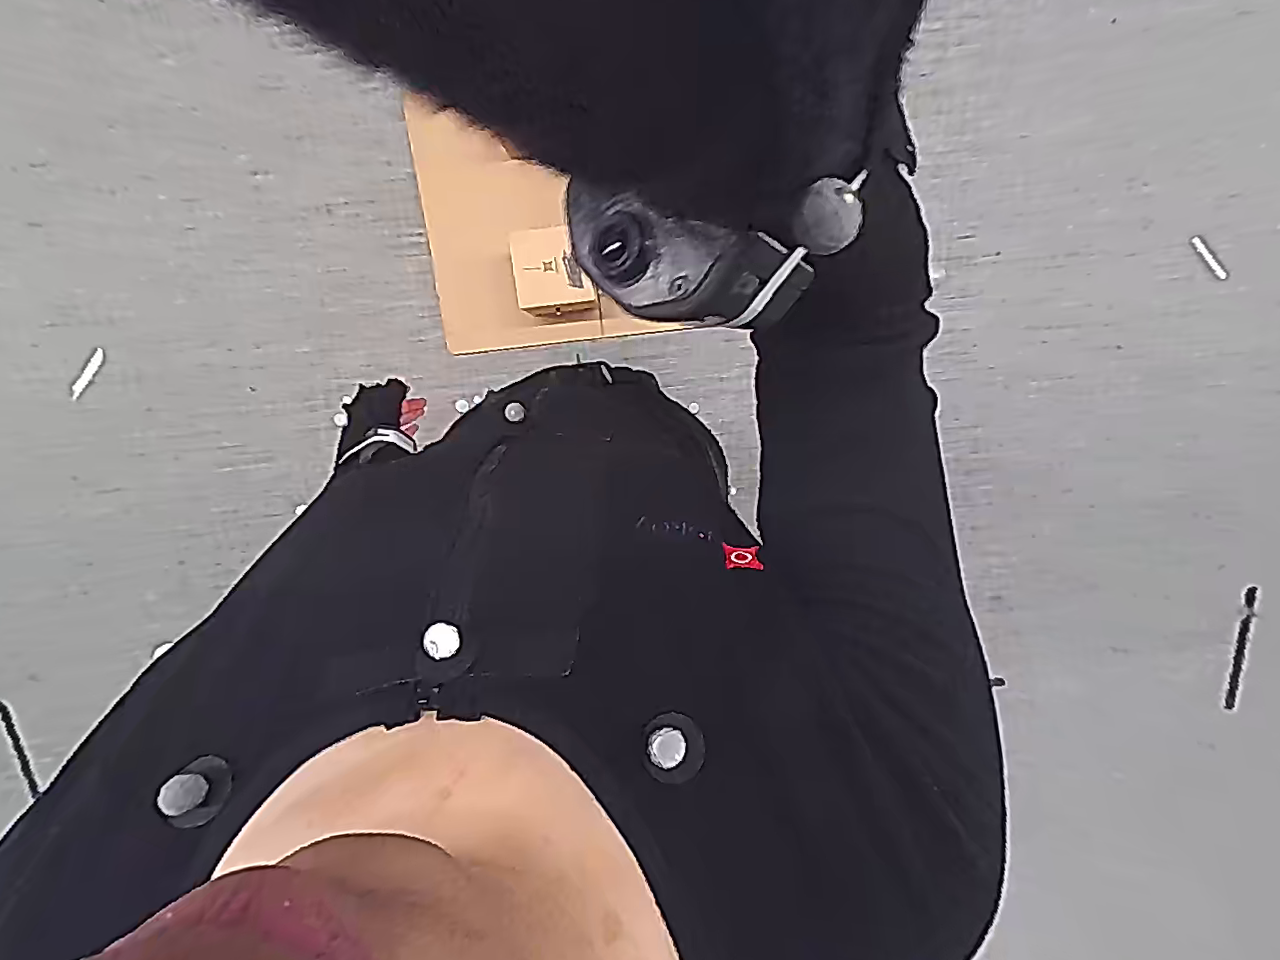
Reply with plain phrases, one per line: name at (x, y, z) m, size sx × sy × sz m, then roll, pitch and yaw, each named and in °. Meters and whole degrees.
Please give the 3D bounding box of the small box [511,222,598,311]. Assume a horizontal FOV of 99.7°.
small box at (-0.195, -0.502, 1.289) m, size 0.179 × 0.176 × 0.168 m, roll -6°, pitch 102°, yaw 1°
